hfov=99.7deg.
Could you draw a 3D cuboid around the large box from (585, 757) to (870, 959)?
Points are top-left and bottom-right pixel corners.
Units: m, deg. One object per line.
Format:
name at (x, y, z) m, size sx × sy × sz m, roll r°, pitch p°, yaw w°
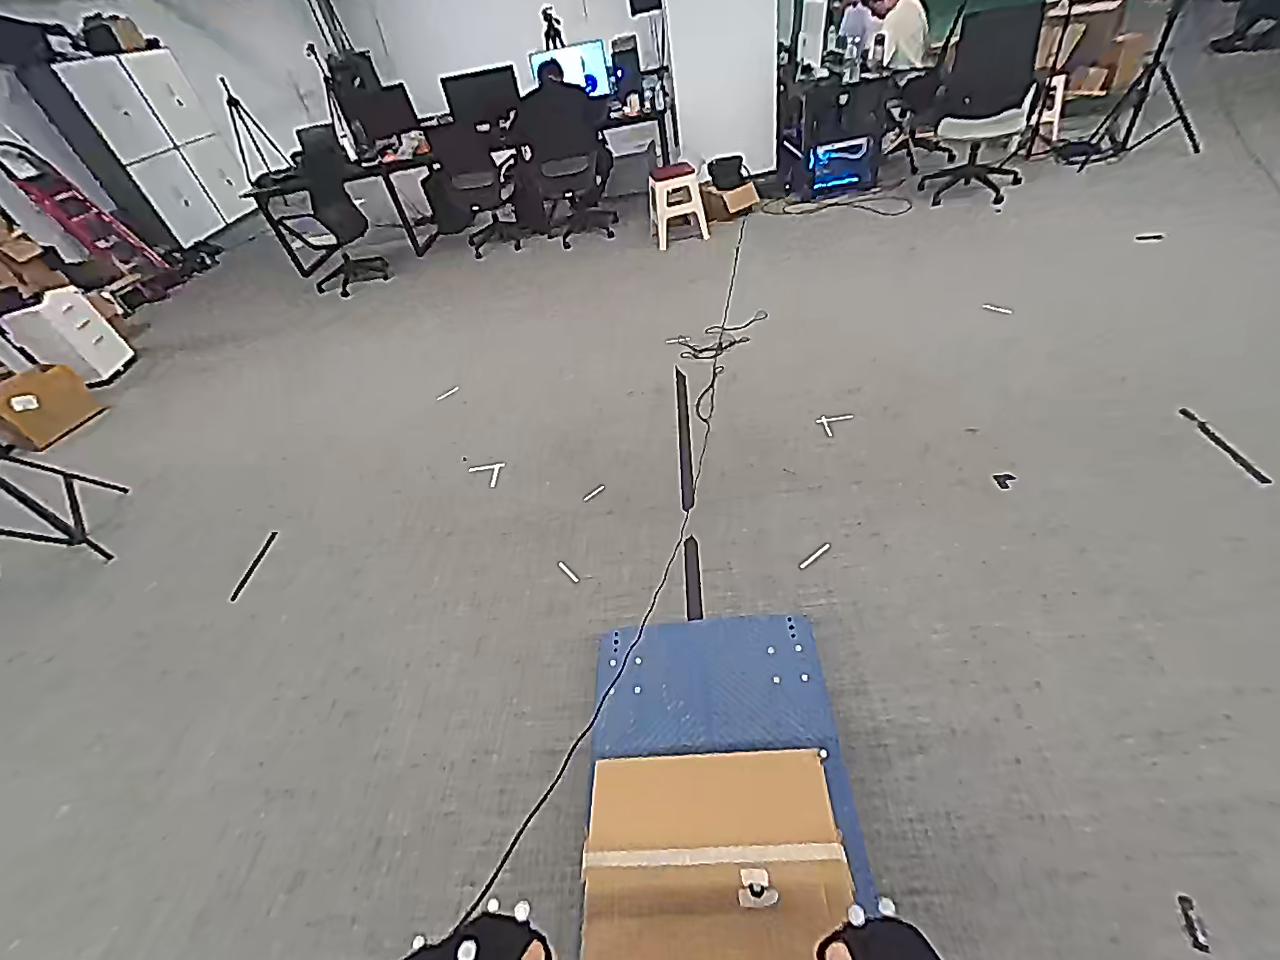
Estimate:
large box at (0.139, 0.712, 0.930) m, size 0.408 × 0.320 × 0.320 m, roll -7°, pitch 41°, yaw 7°
